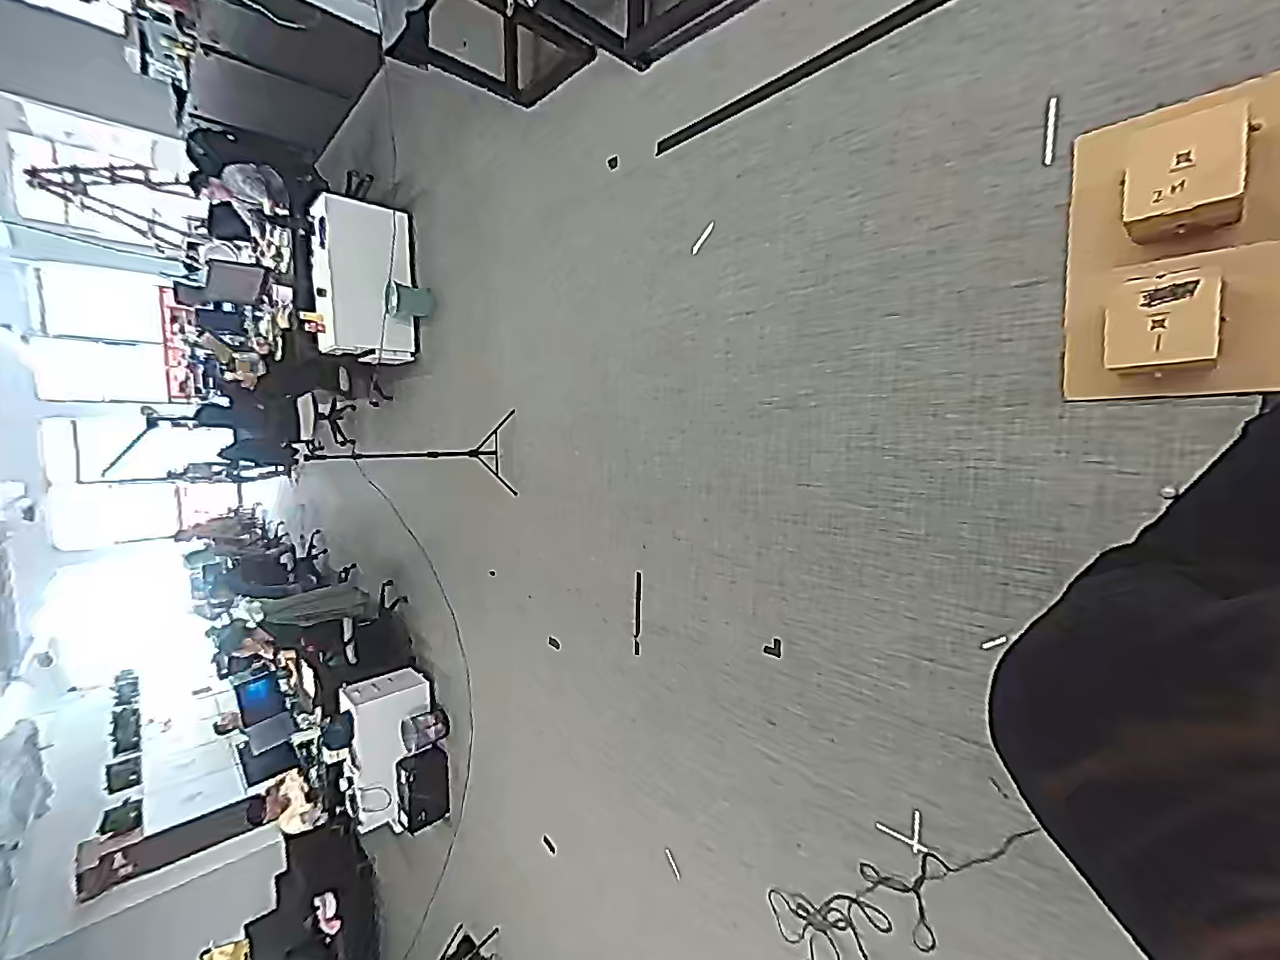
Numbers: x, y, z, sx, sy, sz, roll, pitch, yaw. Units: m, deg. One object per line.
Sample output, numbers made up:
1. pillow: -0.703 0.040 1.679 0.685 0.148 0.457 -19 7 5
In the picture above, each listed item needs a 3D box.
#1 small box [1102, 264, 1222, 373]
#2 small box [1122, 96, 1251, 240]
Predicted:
1. small box: 1.068 -0.319 1.108 0.168 0.176 0.179 3 97 47
2. small box: 1.077 -0.602 1.070 0.168 0.176 0.179 4 97 48
